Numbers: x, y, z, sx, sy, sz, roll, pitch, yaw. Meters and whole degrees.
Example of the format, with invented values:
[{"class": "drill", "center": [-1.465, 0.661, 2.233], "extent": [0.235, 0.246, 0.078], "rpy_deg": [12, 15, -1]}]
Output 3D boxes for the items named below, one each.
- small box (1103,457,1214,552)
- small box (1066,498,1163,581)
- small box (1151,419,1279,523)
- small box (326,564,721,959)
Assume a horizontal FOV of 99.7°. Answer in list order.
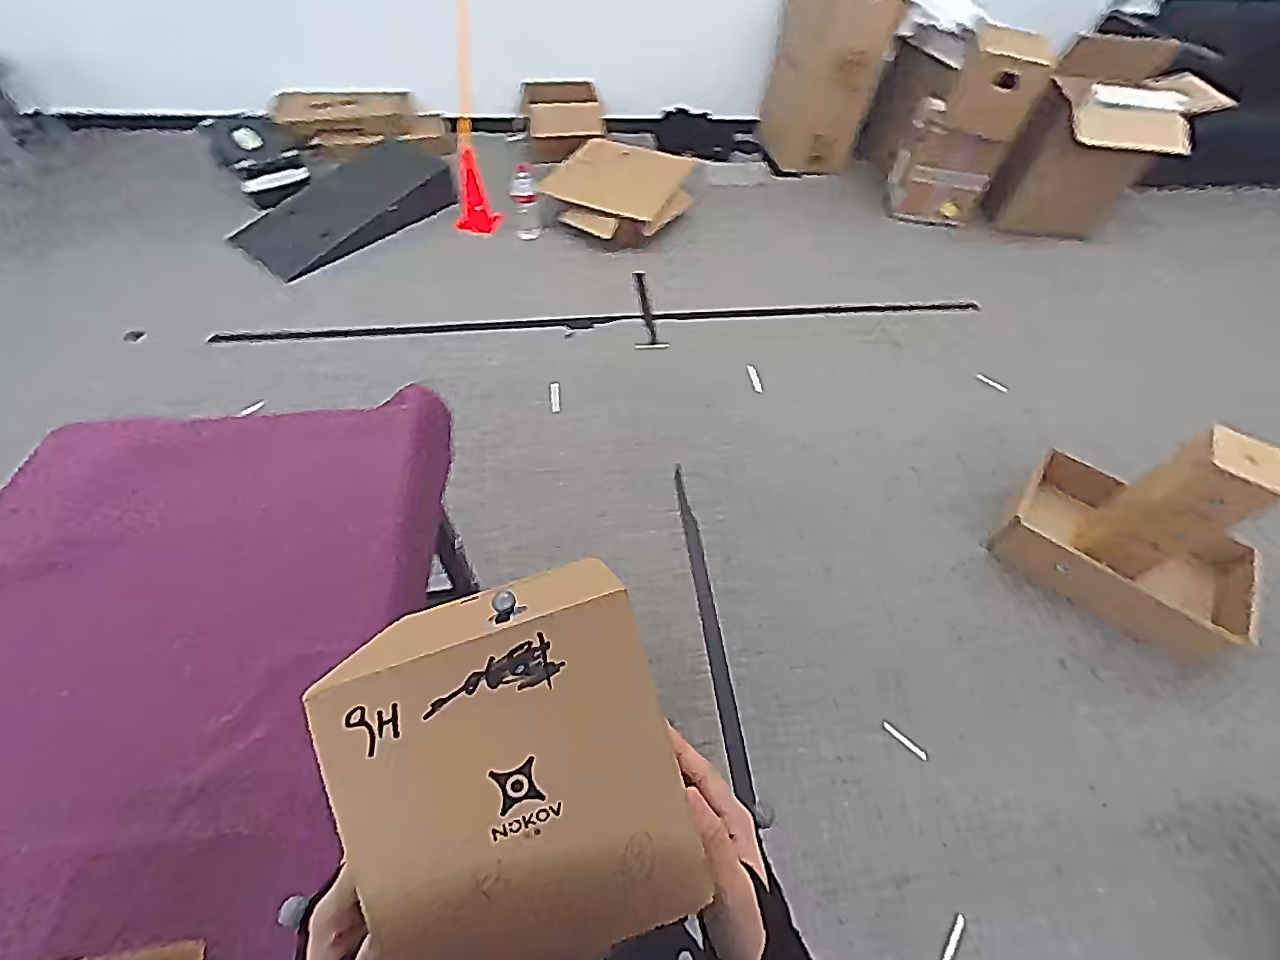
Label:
[{"class": "small box", "center": [1.476, 0.075, 1.545], "extent": [0.168, 0.176, 0.179], "rpy_deg": [30, 56, 16]}, {"class": "small box", "center": [1.470, 0.176, 1.672], "extent": [0.168, 0.176, 0.179], "rpy_deg": [34, 59, 19]}, {"class": "small box", "center": [1.490, -0.019, 1.410], "extent": [0.168, 0.176, 0.179], "rpy_deg": [30, 57, 15]}, {"class": "small box", "center": [-0.066, 0.167, 0.356], "extent": [0.168, 0.176, 0.179], "rpy_deg": [-16, 90, -9]}]
